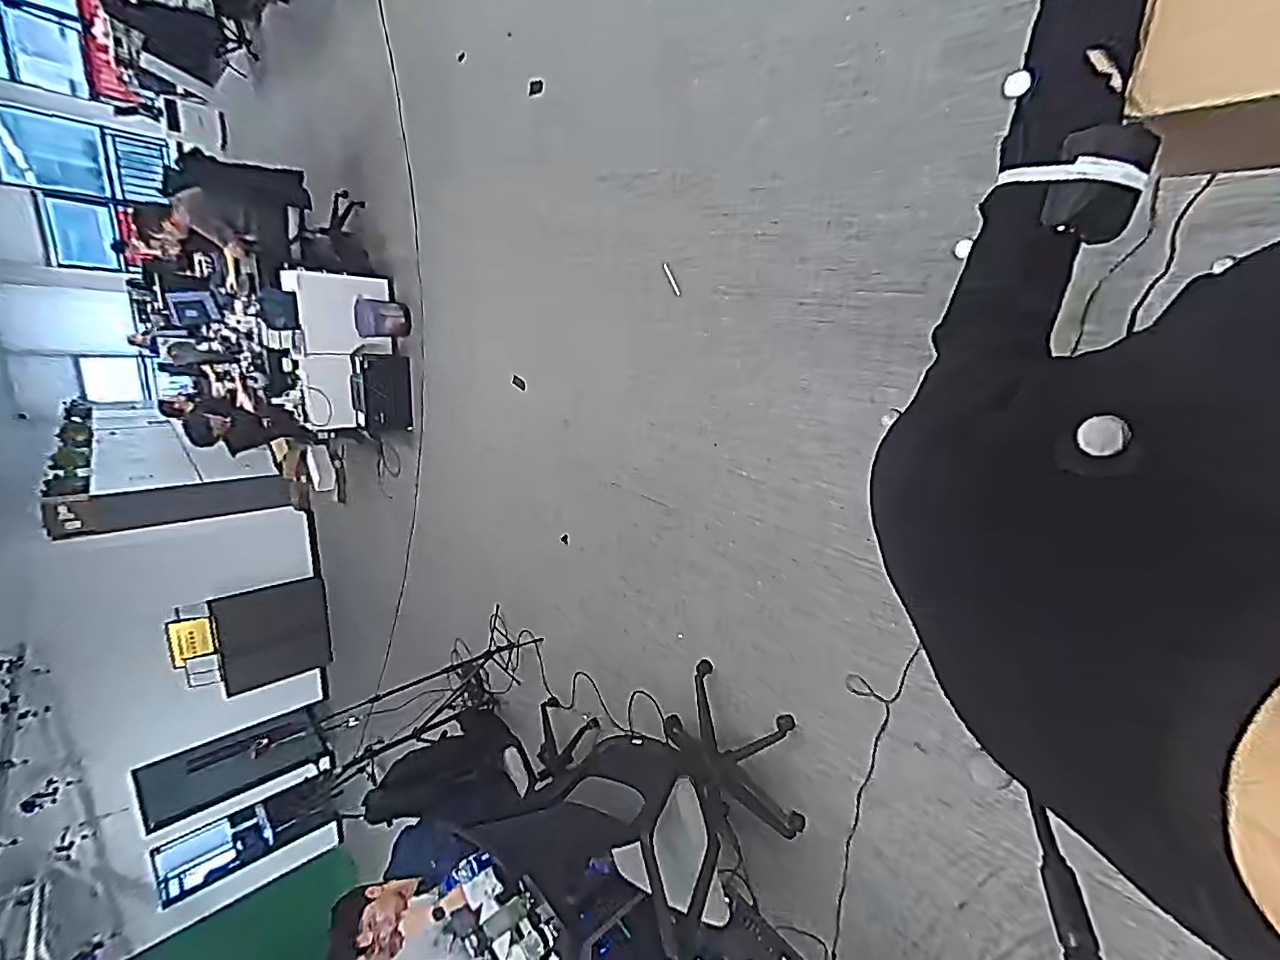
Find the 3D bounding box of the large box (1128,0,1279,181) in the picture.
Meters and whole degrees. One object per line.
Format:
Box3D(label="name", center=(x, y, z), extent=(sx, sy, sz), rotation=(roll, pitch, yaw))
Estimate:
Box3D(label="large box", center=(0.586, -0.386, 0.300), extent=(0.408, 0.320, 0.320), rotation=(19, 117, 43))
